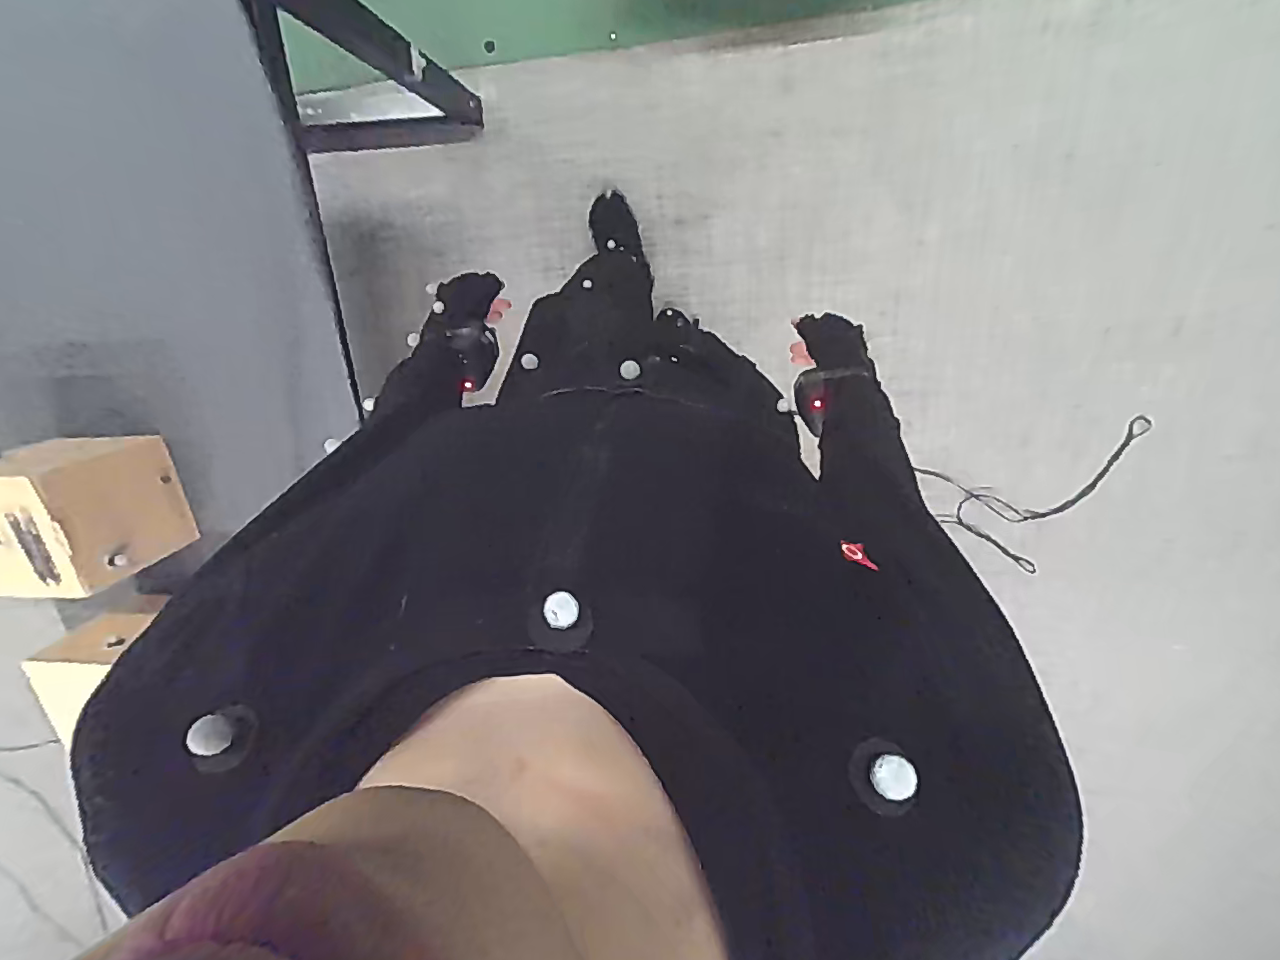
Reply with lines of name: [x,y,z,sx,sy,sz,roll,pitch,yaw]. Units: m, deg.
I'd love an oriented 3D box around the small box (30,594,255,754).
small box: [-0.736,0.288,0.830,0.179,0.176,0.168,0,110,7]
